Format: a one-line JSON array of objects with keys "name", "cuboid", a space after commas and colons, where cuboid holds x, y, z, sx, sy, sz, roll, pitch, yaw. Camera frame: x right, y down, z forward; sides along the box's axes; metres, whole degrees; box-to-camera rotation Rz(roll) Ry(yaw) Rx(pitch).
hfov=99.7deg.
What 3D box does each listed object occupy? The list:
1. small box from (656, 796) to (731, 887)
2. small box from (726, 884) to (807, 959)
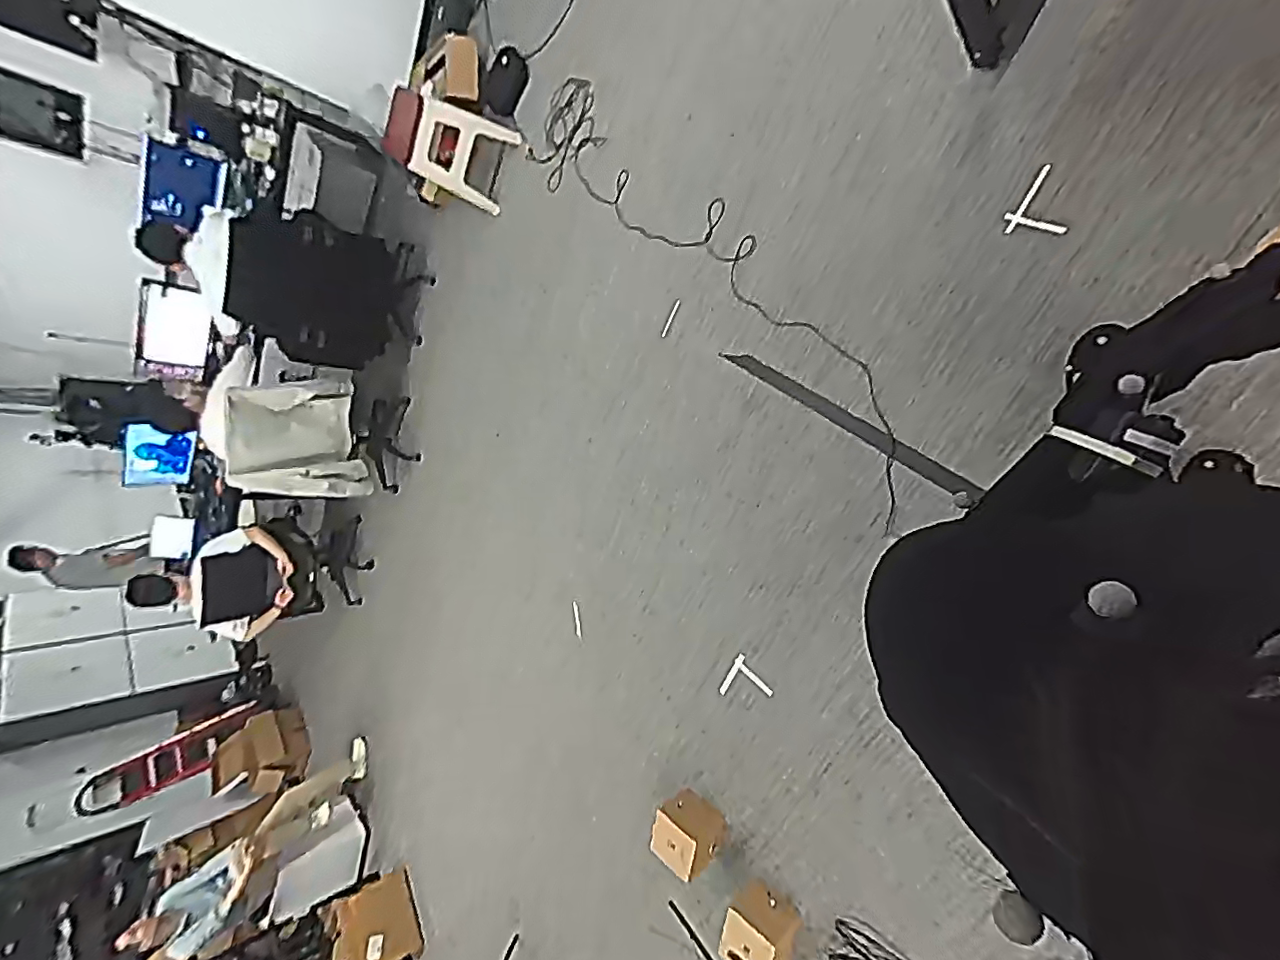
[{"name": "small box", "cuboid": [0.184, 1.224, 1.854, 0.179, 0.176, 0.168, 18, 104, 41]}, {"name": "small box", "cuboid": [0.392, 1.411, 1.660, 0.168, 0.176, 0.179, 18, 102, 41]}]
